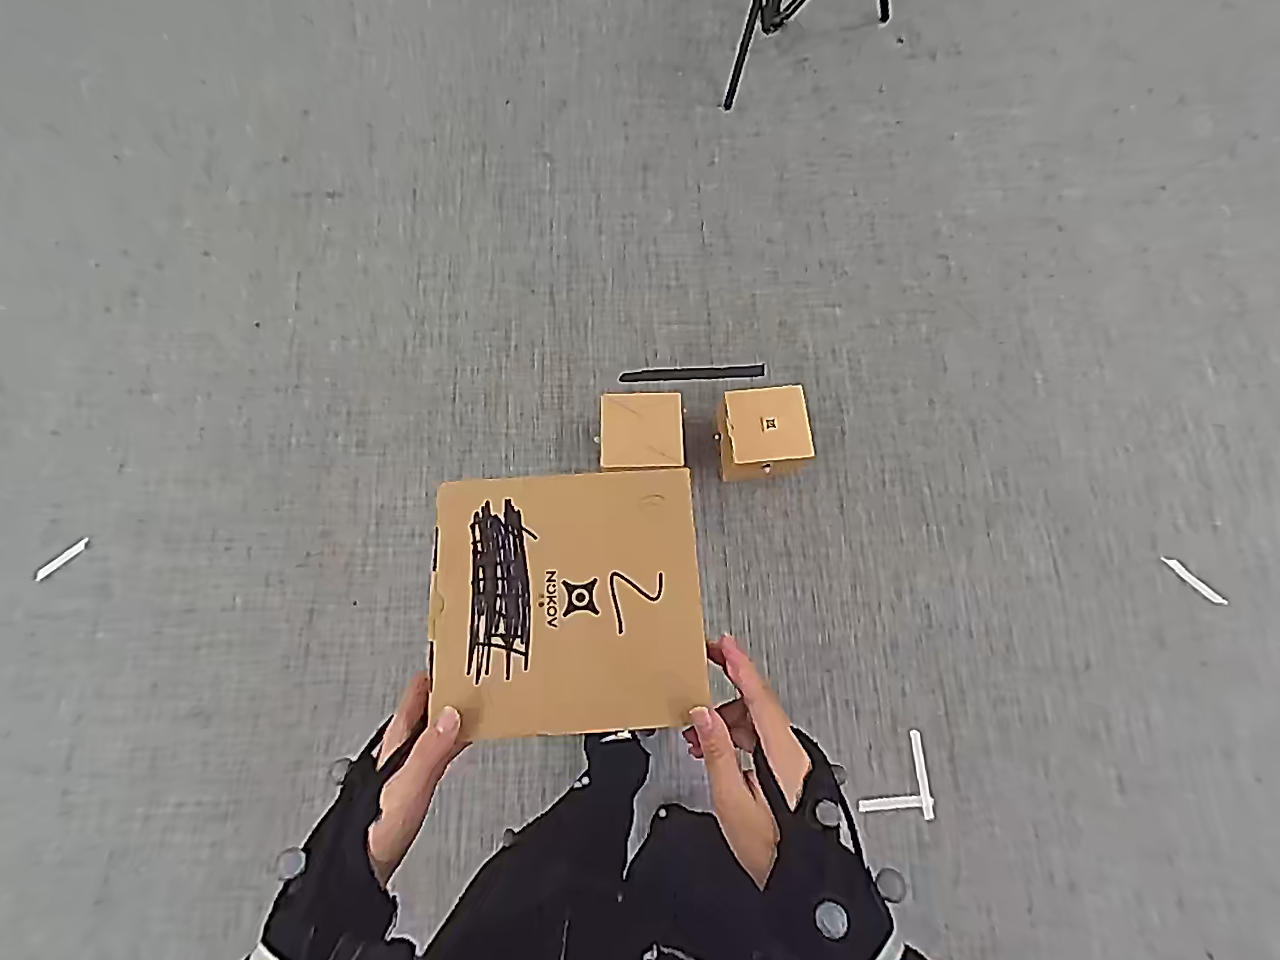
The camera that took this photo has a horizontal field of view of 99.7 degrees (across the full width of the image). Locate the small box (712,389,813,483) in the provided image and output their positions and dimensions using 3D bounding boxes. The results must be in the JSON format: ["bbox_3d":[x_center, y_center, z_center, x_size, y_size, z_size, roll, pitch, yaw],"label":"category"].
[{"bbox_3d":[0.272,-0.095,1.240,0.179,0.176,0.168,-6,77,-2],"label":"small box"}]

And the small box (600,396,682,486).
[{"bbox_3d":[0.002,-0.085,1.231,0.179,0.176,0.168,-1,77,-1],"label":"small box"}]
